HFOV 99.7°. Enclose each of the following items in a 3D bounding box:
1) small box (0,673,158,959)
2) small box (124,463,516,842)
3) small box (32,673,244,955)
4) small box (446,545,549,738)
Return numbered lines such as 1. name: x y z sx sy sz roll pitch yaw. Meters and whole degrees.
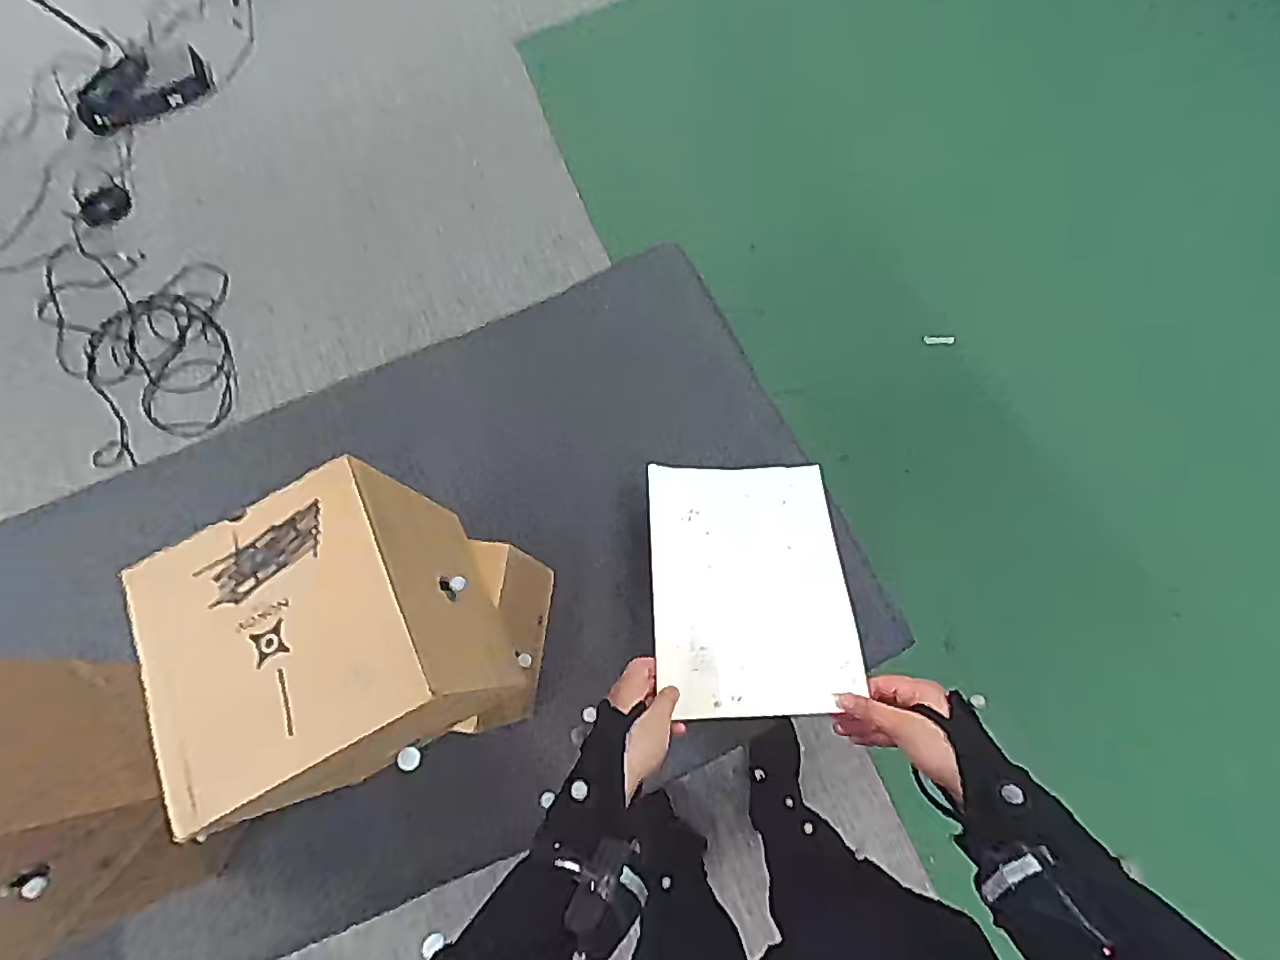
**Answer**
1. small box: -0.515 0.258 0.397 0.179 0.176 0.168 36 78 17
2. small box: -0.219 0.120 0.406 0.168 0.176 0.179 -29 71 -2
3. small box: -0.515 0.309 0.553 0.179 0.176 0.168 24 75 14
4. small box: -0.207 0.159 0.566 0.179 0.176 0.168 3 72 9
